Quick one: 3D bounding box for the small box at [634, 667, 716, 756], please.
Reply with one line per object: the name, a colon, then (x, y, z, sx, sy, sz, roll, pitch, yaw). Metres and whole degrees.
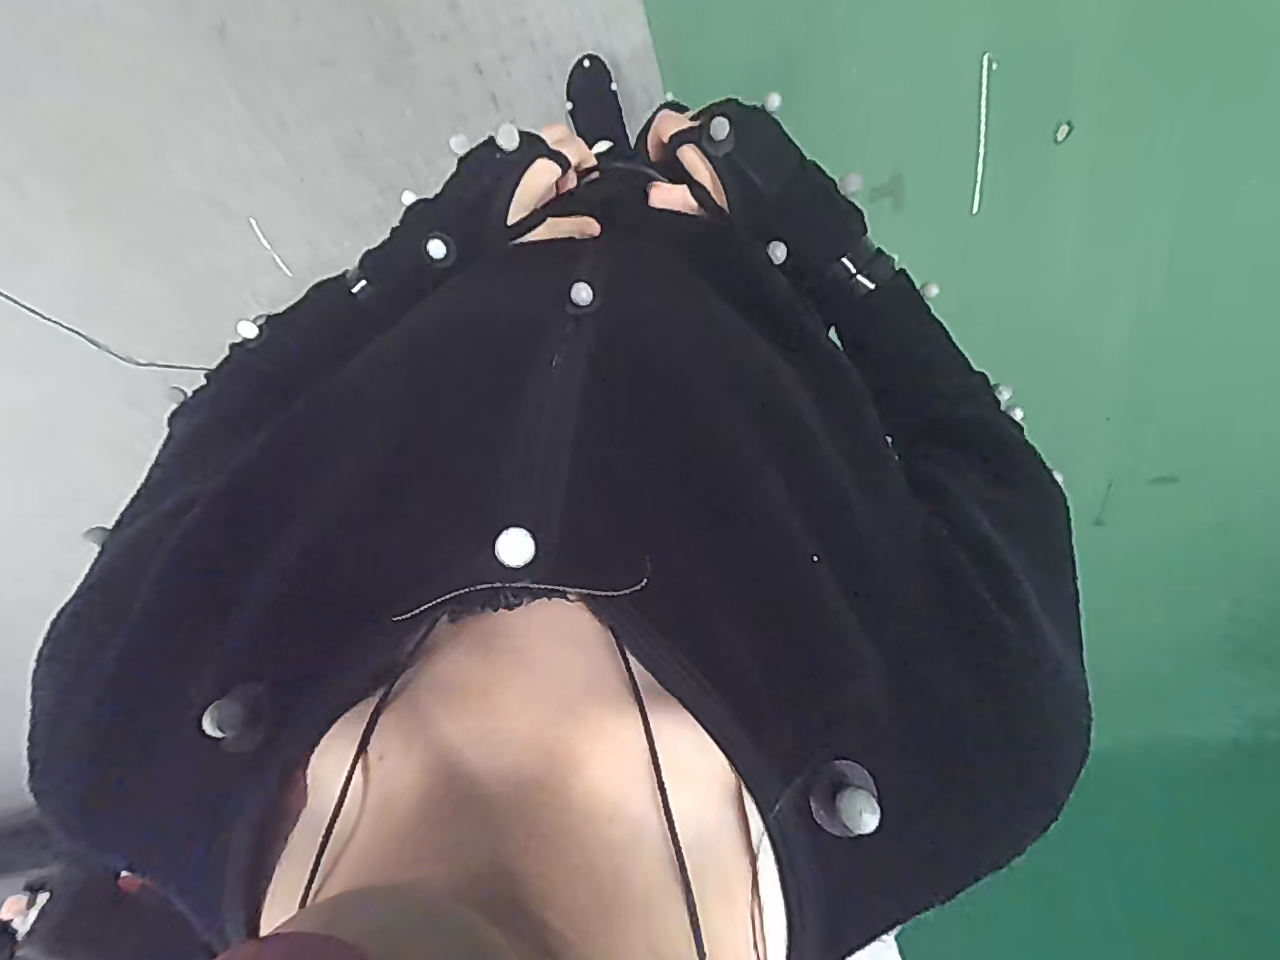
small box: (0.088, 0.588, 1.325, 0.179, 0.176, 0.168, -15, 126, 7)

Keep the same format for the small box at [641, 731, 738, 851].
small box: (0.105, 0.683, 1.191, 0.179, 0.176, 0.168, -15, 127, 7)
